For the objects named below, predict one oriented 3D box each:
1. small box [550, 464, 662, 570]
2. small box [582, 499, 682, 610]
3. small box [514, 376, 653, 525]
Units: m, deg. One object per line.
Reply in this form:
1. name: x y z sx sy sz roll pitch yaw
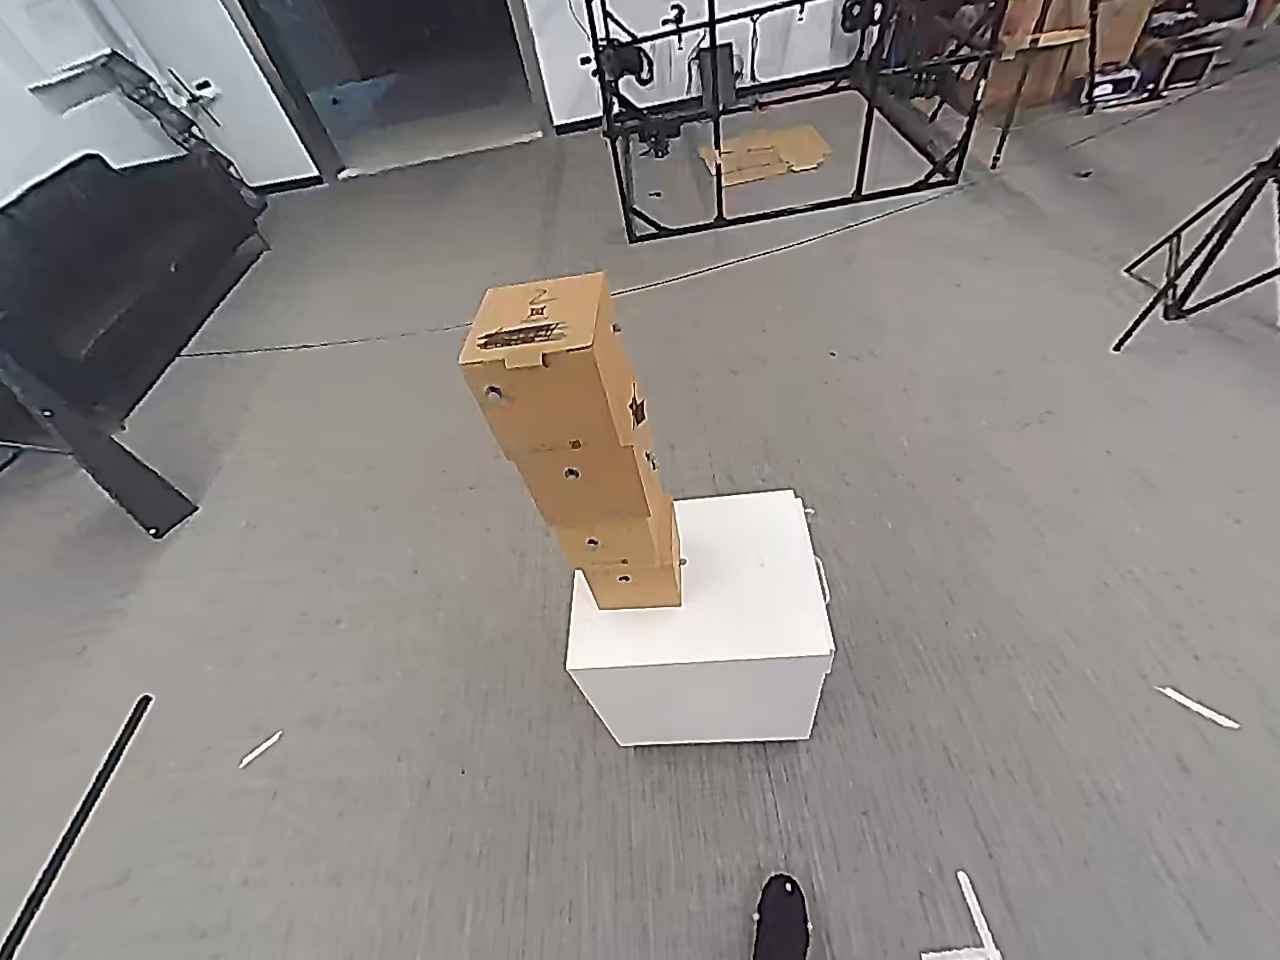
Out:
1. small box: -0.052 0.054 0.993 0.168 0.176 0.179 -3 49 9
2. small box: -0.010 0.157 1.113 0.179 0.176 0.168 -4 49 7
3. small box: -0.079 -0.042 0.861 0.179 0.176 0.168 -5 49 7
